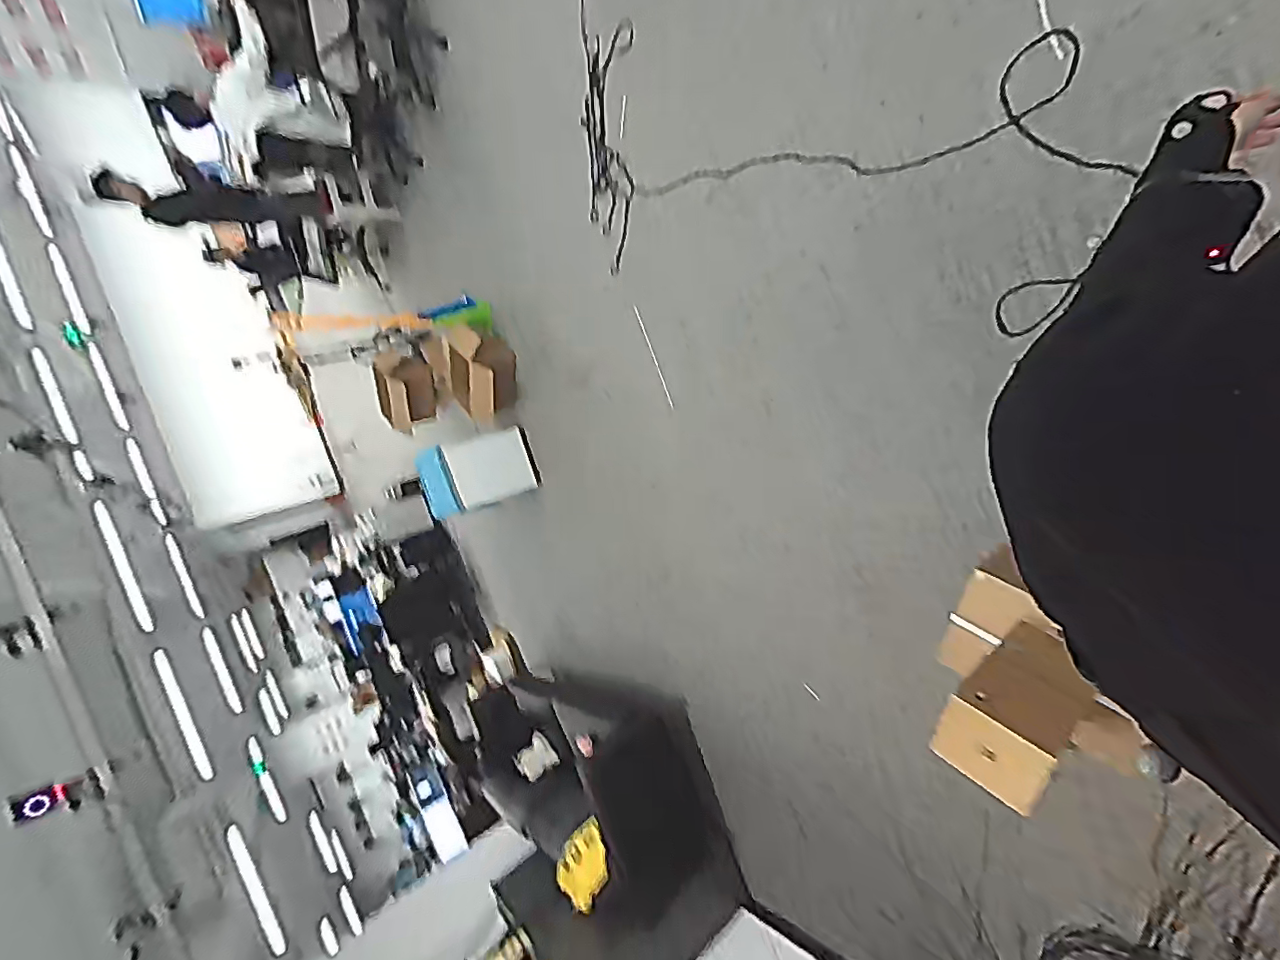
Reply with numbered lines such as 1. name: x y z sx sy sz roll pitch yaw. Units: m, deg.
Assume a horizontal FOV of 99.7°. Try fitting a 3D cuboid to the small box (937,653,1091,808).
1. small box: 0.714 0.467 1.037 0.179 0.176 0.168 31 131 44
